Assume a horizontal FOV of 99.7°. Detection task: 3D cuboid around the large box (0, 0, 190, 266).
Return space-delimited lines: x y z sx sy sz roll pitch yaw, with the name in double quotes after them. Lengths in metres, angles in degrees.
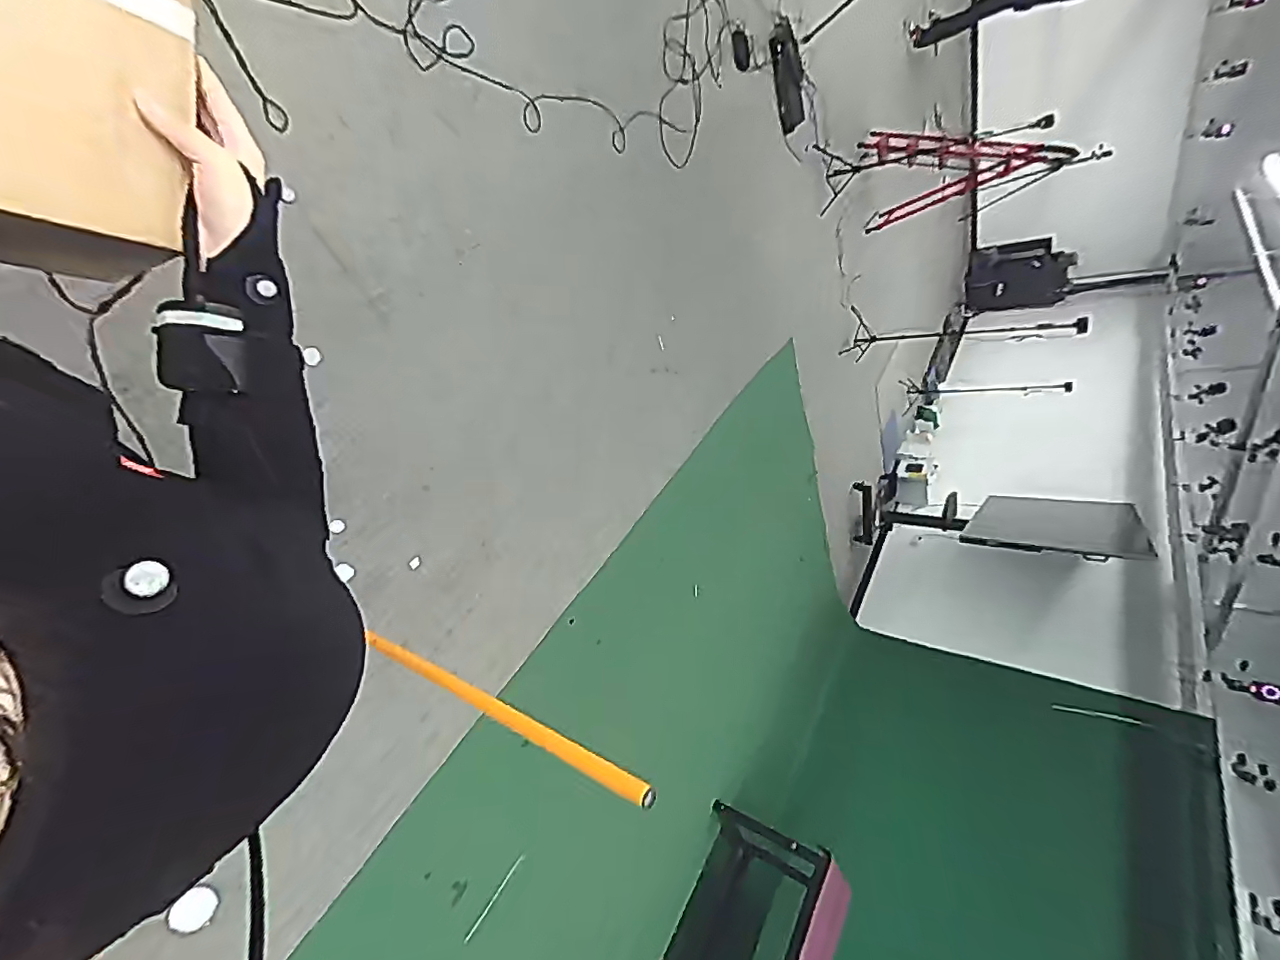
-0.570 -0.348 0.323 0.408 0.320 0.320 -4 103 -53 "large box"
